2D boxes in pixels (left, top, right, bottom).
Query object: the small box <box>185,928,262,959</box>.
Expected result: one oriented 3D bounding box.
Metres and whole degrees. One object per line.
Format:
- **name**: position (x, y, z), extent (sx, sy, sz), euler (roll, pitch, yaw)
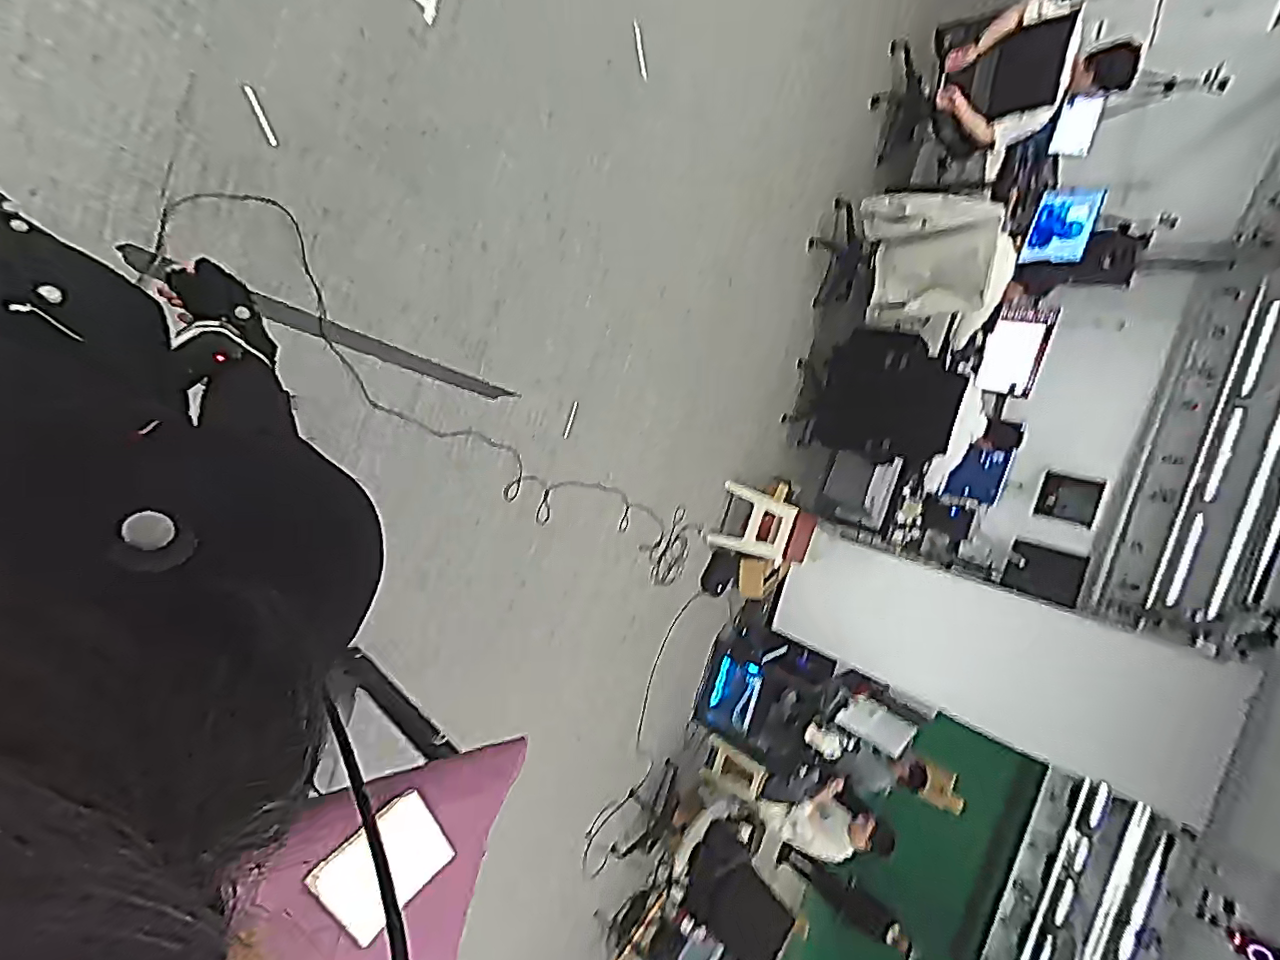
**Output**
- **small box**: position (-0.630, 0.801, 0.755), extent (0.179, 0.176, 0.168), euler (-3, 108, -50)
